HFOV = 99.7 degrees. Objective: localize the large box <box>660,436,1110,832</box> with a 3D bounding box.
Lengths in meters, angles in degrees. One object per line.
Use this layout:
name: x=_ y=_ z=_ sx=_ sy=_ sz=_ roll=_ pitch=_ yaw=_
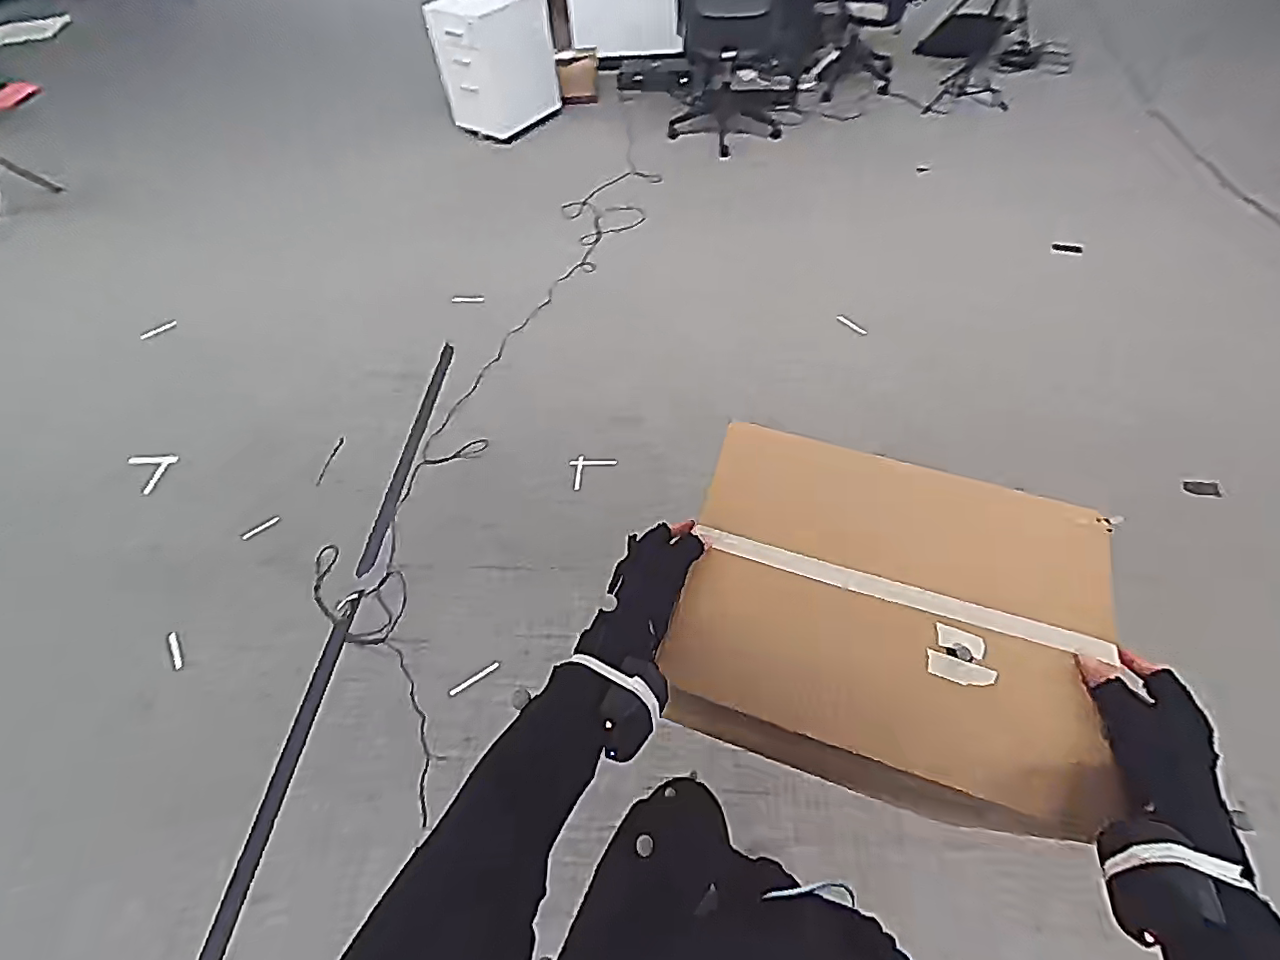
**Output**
large box: x=0.256 y=0.192 z=0.684 sx=0.408 sy=0.320 sz=0.320 roll=16 pitch=64 yaw=11
